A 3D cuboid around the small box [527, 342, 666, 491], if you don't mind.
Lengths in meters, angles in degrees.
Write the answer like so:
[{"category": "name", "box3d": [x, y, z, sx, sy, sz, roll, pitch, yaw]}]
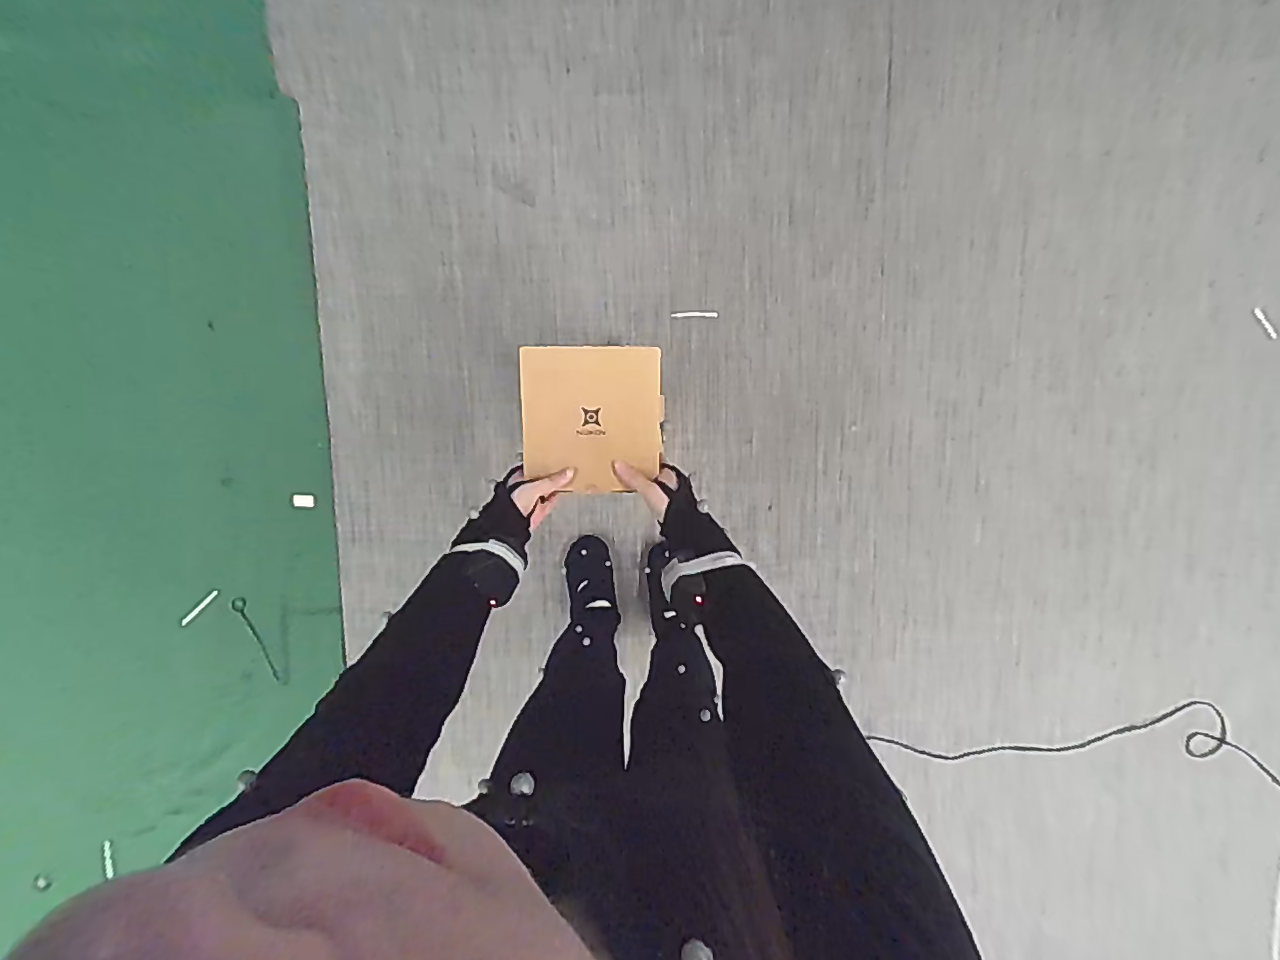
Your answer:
[{"category": "small box", "box3d": [-0.054, -0.089, 0.723, 0.168, 0.176, 0.179, 1, 102, 0]}]
